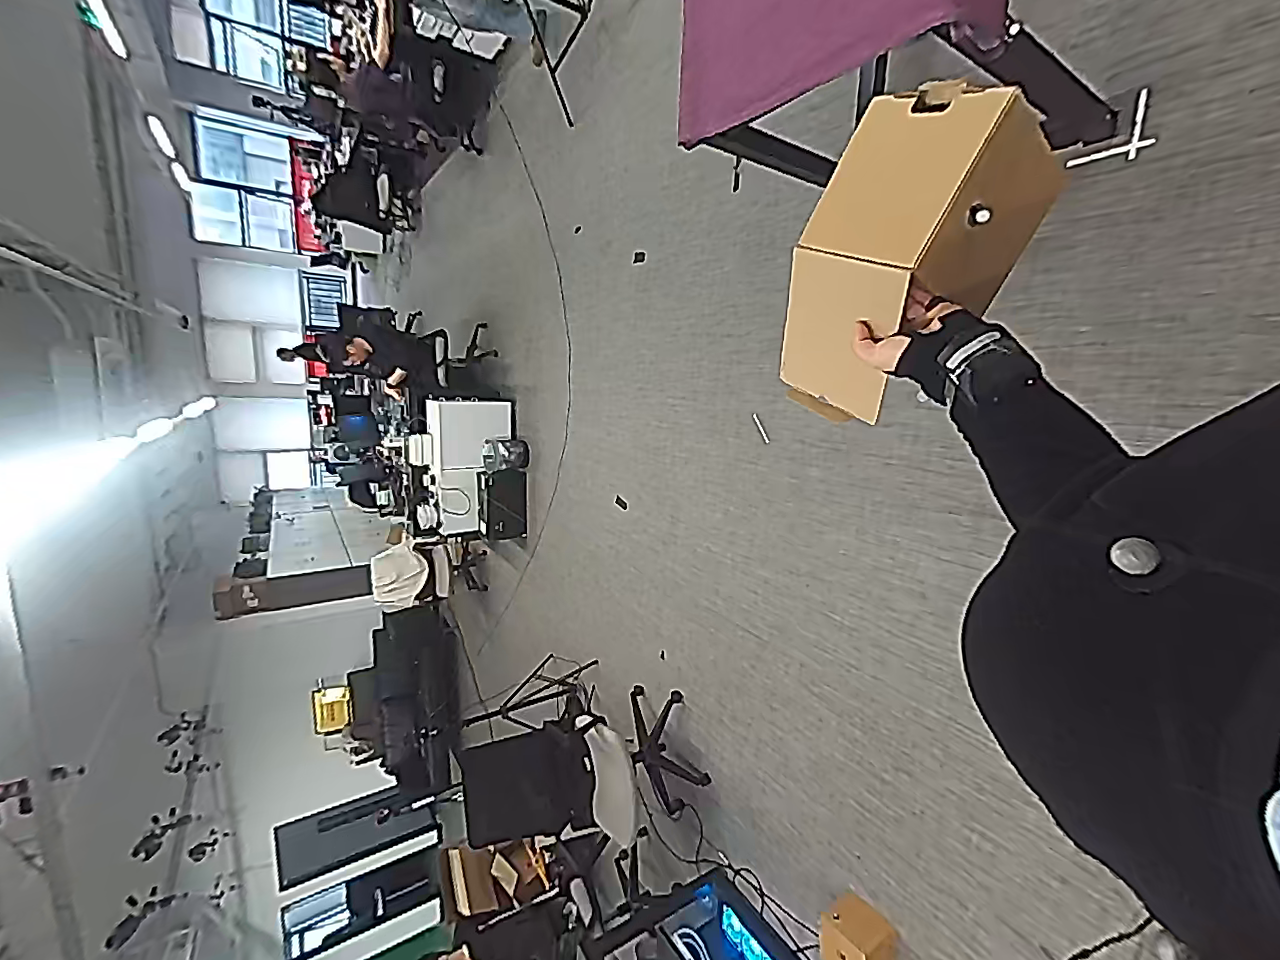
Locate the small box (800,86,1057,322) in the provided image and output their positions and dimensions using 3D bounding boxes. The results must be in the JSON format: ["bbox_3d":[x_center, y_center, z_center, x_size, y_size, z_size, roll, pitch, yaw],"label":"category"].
[{"bbox_3d":[0.328,-0.304,0.619,0.168,0.176,0.179,44,113,47],"label":"small box"}]
